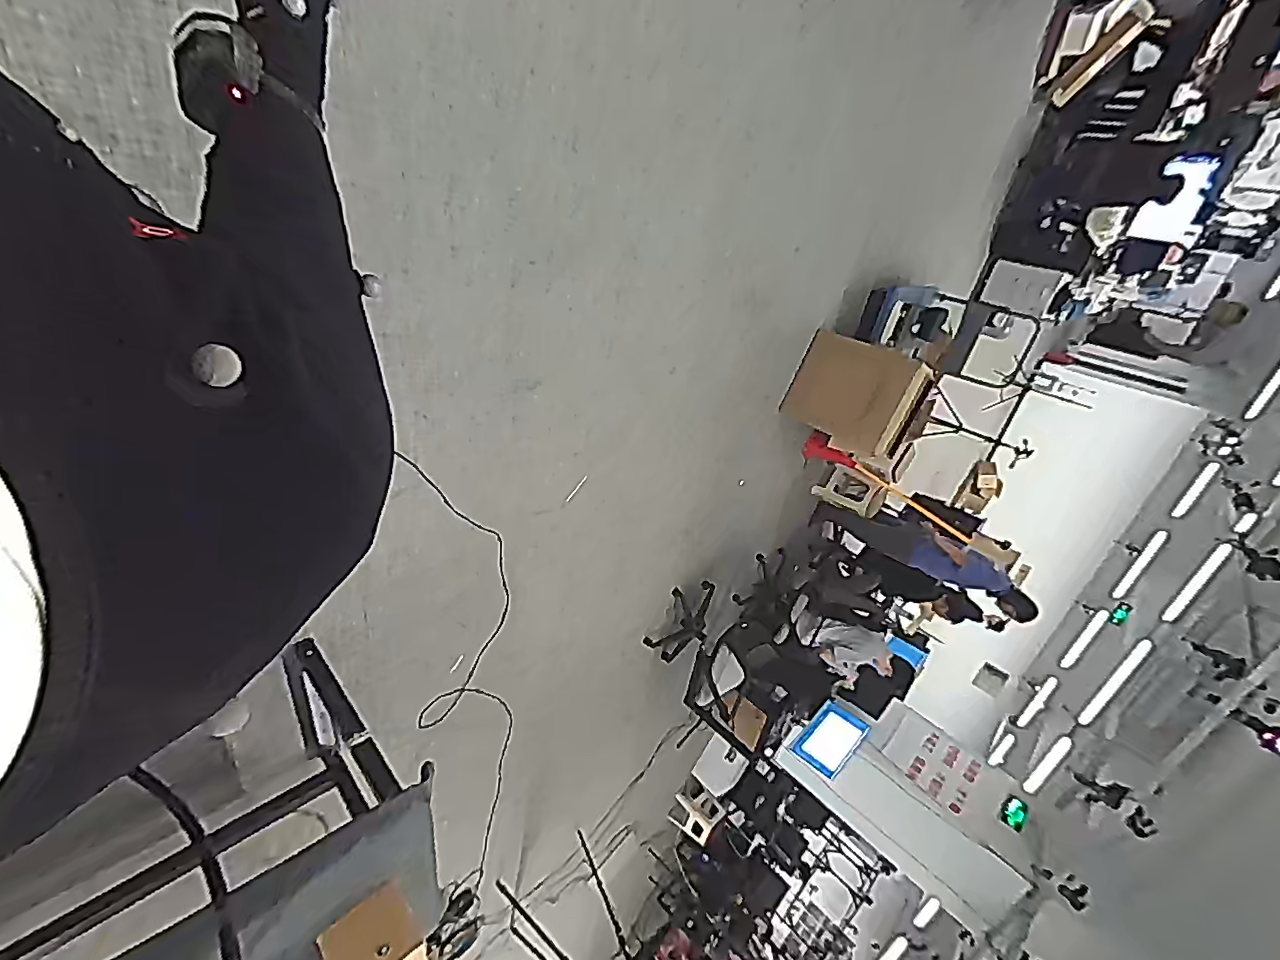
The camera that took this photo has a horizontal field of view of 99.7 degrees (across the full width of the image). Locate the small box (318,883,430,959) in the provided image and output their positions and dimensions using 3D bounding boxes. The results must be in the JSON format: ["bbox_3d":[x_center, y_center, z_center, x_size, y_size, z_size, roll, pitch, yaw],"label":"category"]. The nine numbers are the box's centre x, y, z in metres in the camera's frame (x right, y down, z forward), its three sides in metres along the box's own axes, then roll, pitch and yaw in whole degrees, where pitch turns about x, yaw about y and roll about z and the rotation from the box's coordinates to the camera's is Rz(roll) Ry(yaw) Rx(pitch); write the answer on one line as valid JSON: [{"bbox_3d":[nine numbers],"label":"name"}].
[{"bbox_3d":[-0.611,1.096,1.252,0.179,0.176,0.168,-22,131,-40],"label":"small box"}]
